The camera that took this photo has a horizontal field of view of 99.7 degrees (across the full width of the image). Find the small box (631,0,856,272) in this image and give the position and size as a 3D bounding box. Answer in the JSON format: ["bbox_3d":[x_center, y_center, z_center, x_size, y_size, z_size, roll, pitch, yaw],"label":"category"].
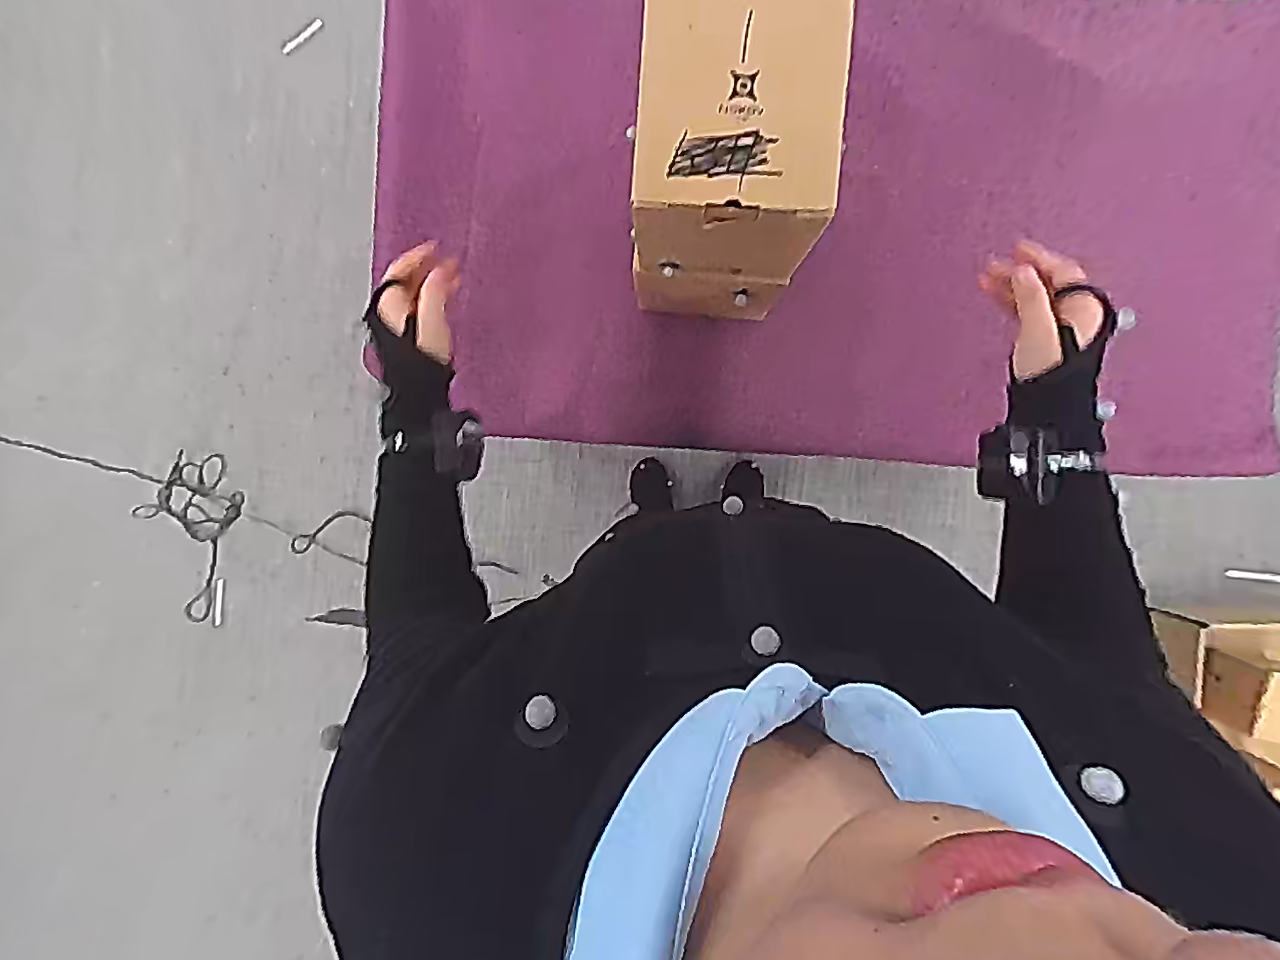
[{"bbox_3d":[0.085,-0.308,0.504,0.168,0.176,0.179,4,93,2],"label":"small box"}]

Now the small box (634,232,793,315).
[{"bbox_3d":[0.091,-0.310,0.669,0.179,0.176,0.168,6,93,3],"label":"small box"}]

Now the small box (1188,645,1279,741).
[{"bbox_3d":[1.526,0.523,1.324,0.179,0.176,0.168,11,95,2],"label":"small box"}]
